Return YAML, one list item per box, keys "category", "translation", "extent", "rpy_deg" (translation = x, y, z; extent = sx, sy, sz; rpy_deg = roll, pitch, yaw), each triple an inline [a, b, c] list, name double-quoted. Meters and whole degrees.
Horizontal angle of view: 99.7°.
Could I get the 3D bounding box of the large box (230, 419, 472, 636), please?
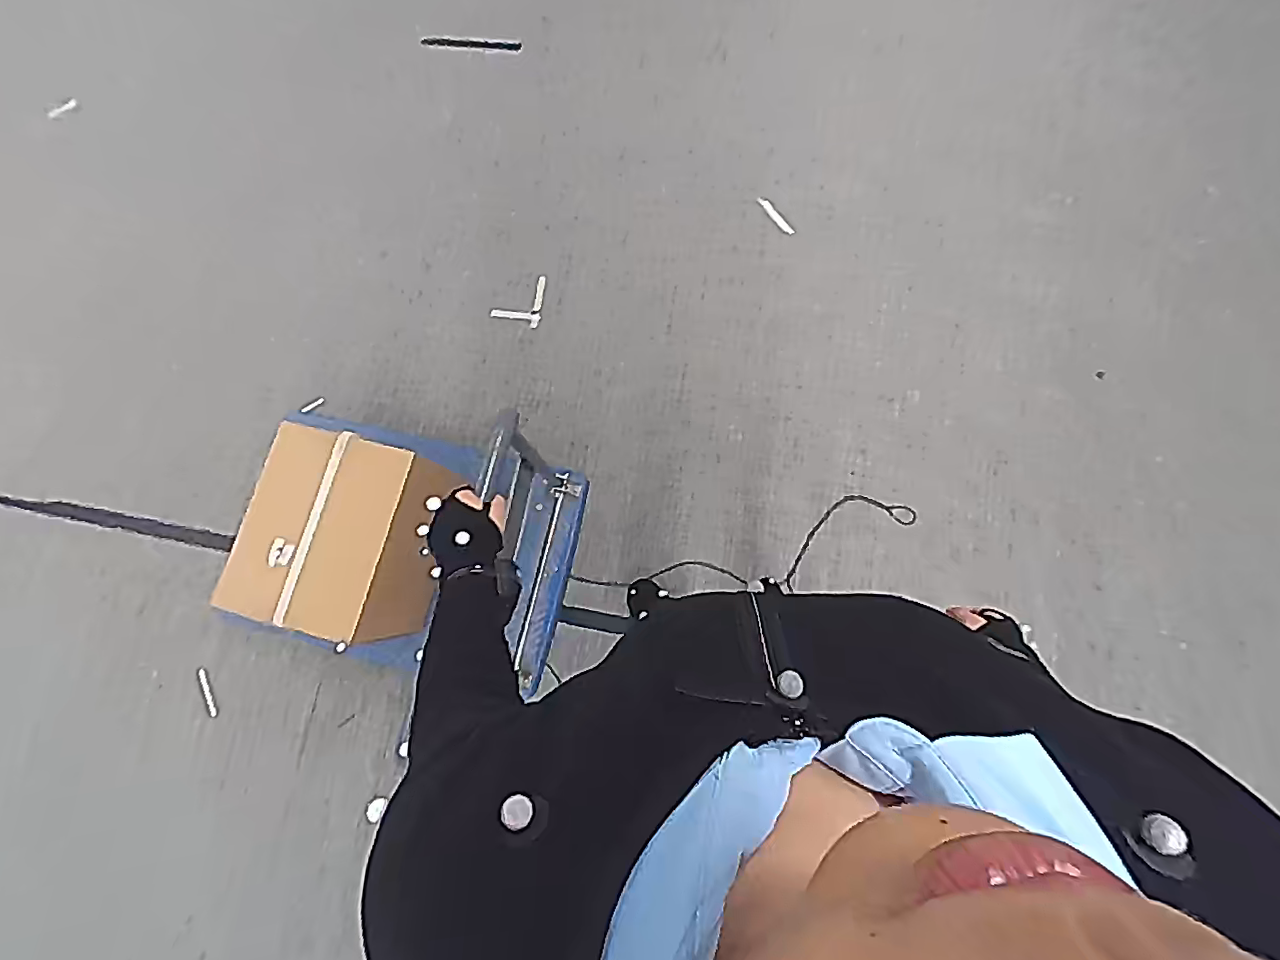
- category: "large box"
  translation: [-0.641, 0.113, 1.270]
  extent: [0.320, 0.320, 0.408]
  rpy_deg: [13, 81, 8]
